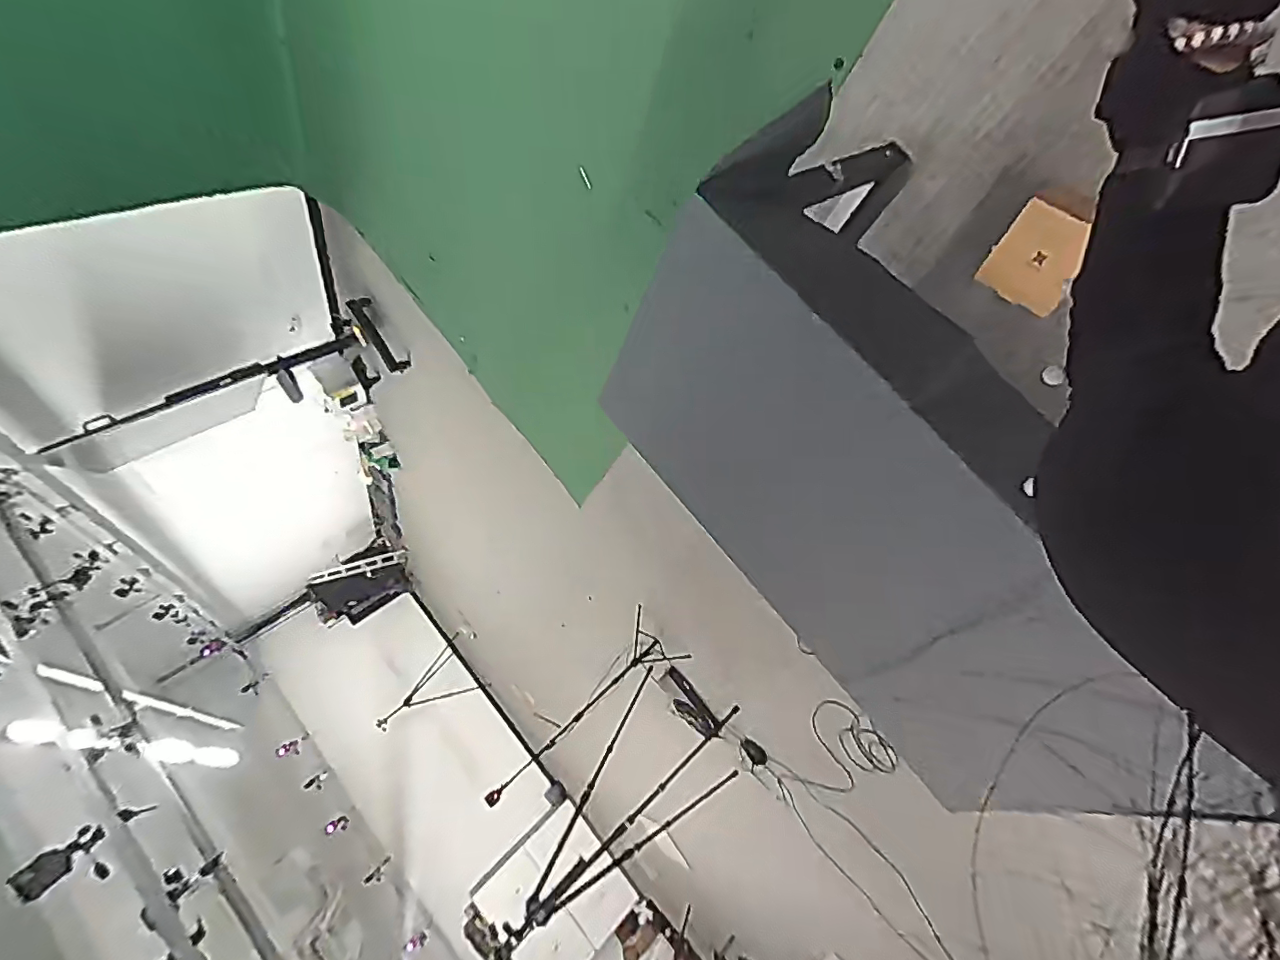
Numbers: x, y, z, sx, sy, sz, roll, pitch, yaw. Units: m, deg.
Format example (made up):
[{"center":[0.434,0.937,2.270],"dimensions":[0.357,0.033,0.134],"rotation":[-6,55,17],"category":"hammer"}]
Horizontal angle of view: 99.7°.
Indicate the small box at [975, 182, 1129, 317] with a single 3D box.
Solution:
[{"center":[0.842,-0.474,1.107],"dimensions":[0.168,0.176,0.179],"rotation":[42,146,19],"category":"small box"}]
